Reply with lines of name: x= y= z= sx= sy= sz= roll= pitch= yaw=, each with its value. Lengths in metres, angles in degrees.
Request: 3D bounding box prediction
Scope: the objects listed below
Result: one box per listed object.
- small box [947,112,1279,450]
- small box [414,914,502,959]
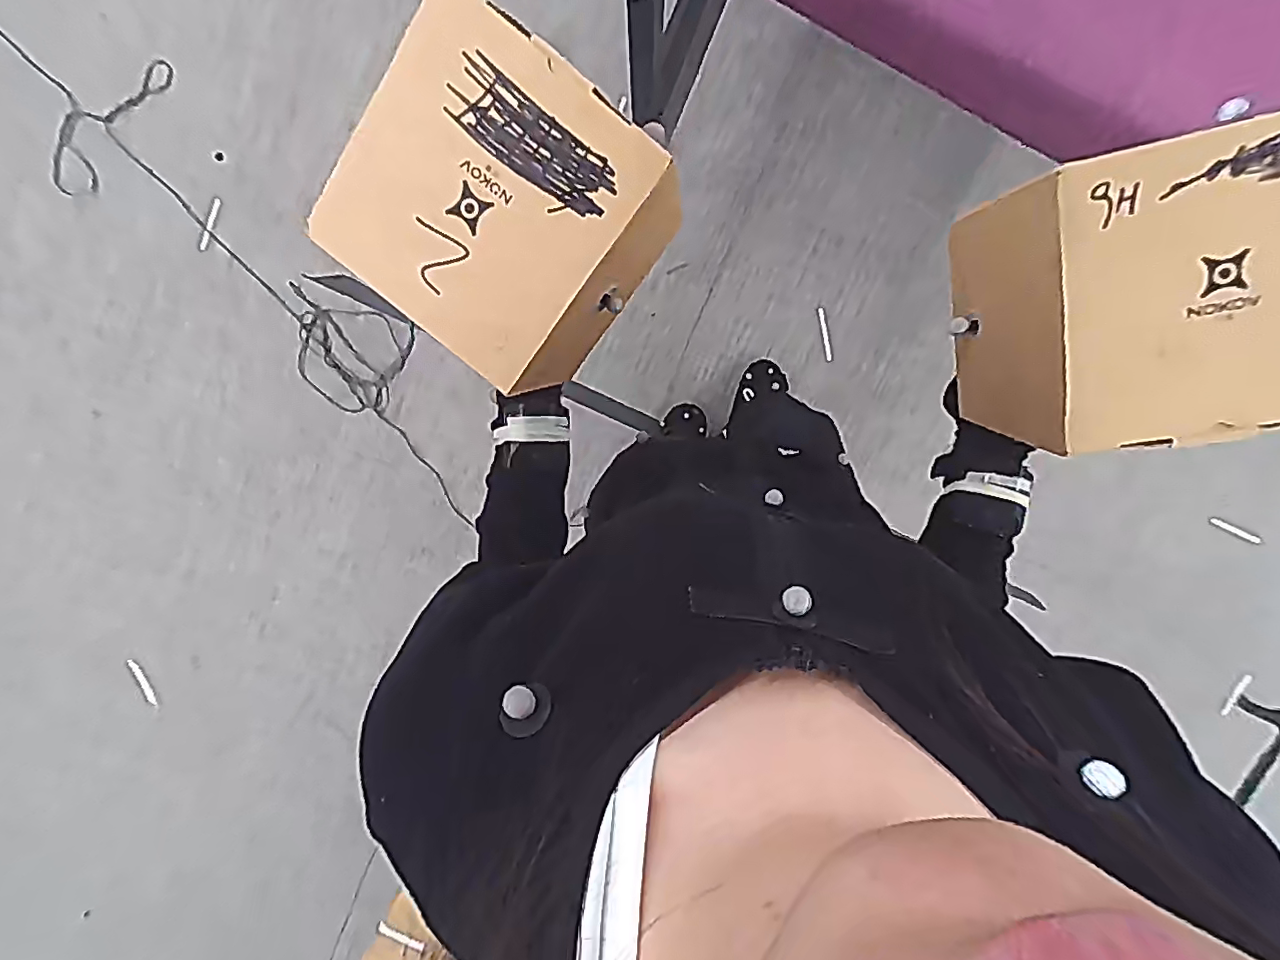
small box: x=0.346 y=-0.135 z=0.394 sx=0.168 sy=0.176 sz=0.179 roll=-9 pitch=104 yaw=11
small box: x=-0.454 y=1.195 z=1.286 sx=0.179 sy=0.176 sz=0.168 roll=32 pitch=97 yaw=-3
